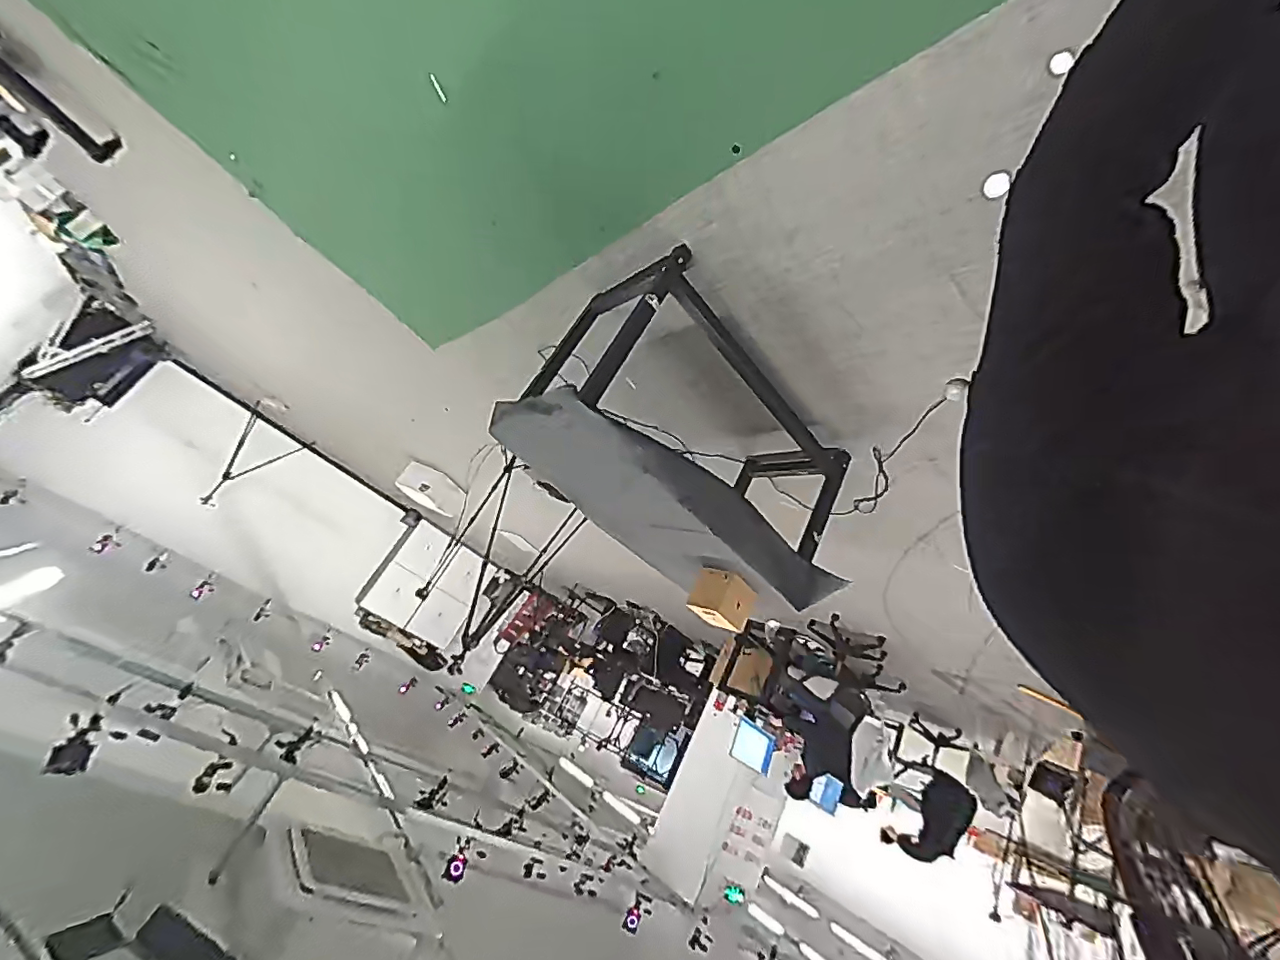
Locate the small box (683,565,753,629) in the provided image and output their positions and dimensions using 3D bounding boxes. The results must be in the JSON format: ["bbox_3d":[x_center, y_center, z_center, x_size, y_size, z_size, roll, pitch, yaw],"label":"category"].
[{"bbox_3d":[0.304,0.446,2.084,0.168,0.176,0.179,1,145,50],"label":"small box"}]
